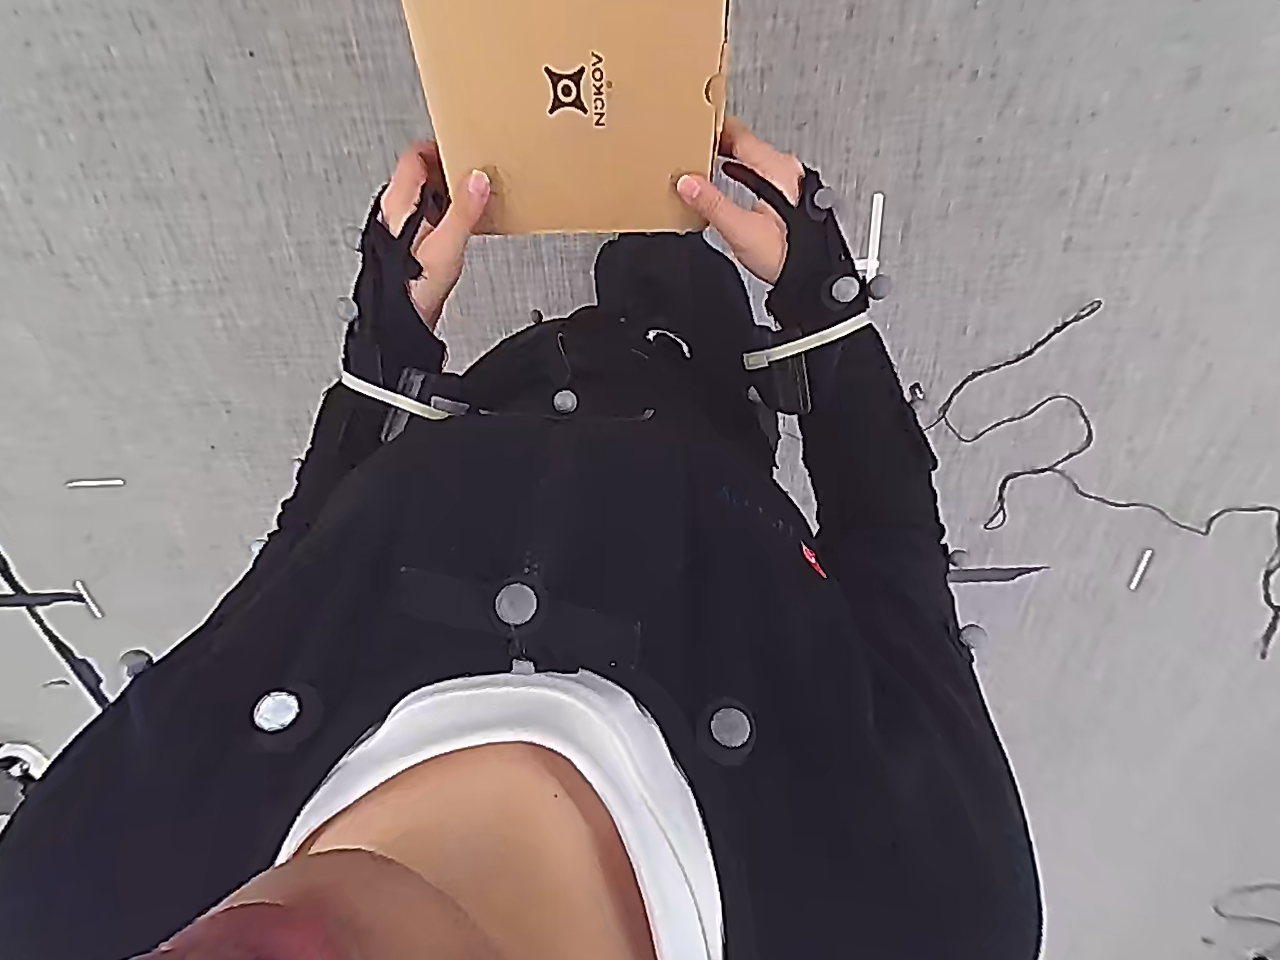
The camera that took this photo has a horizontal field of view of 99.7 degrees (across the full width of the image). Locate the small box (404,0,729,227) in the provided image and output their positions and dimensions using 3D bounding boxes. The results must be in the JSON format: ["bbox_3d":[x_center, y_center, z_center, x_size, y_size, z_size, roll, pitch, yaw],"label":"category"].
[{"bbox_3d":[-0.042,-0.290,0.369,0.179,0.176,0.168,-2,138,-2],"label":"small box"}]
